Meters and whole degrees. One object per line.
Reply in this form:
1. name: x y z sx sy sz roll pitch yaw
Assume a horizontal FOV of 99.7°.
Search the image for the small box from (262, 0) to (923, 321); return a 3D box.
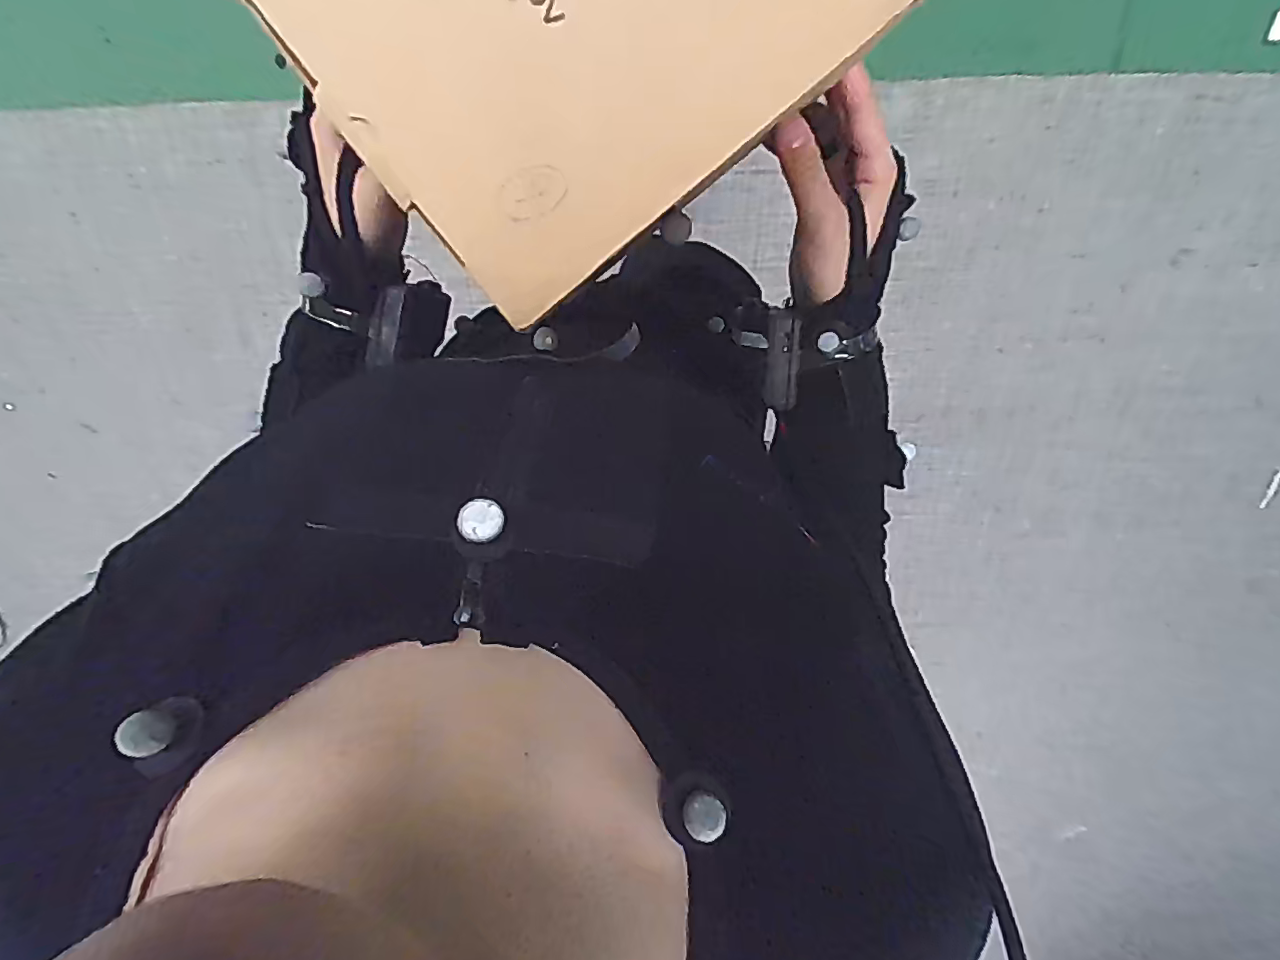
1. small box: -0.018 -0.198 0.236 0.179 0.176 0.168 -33 109 18
